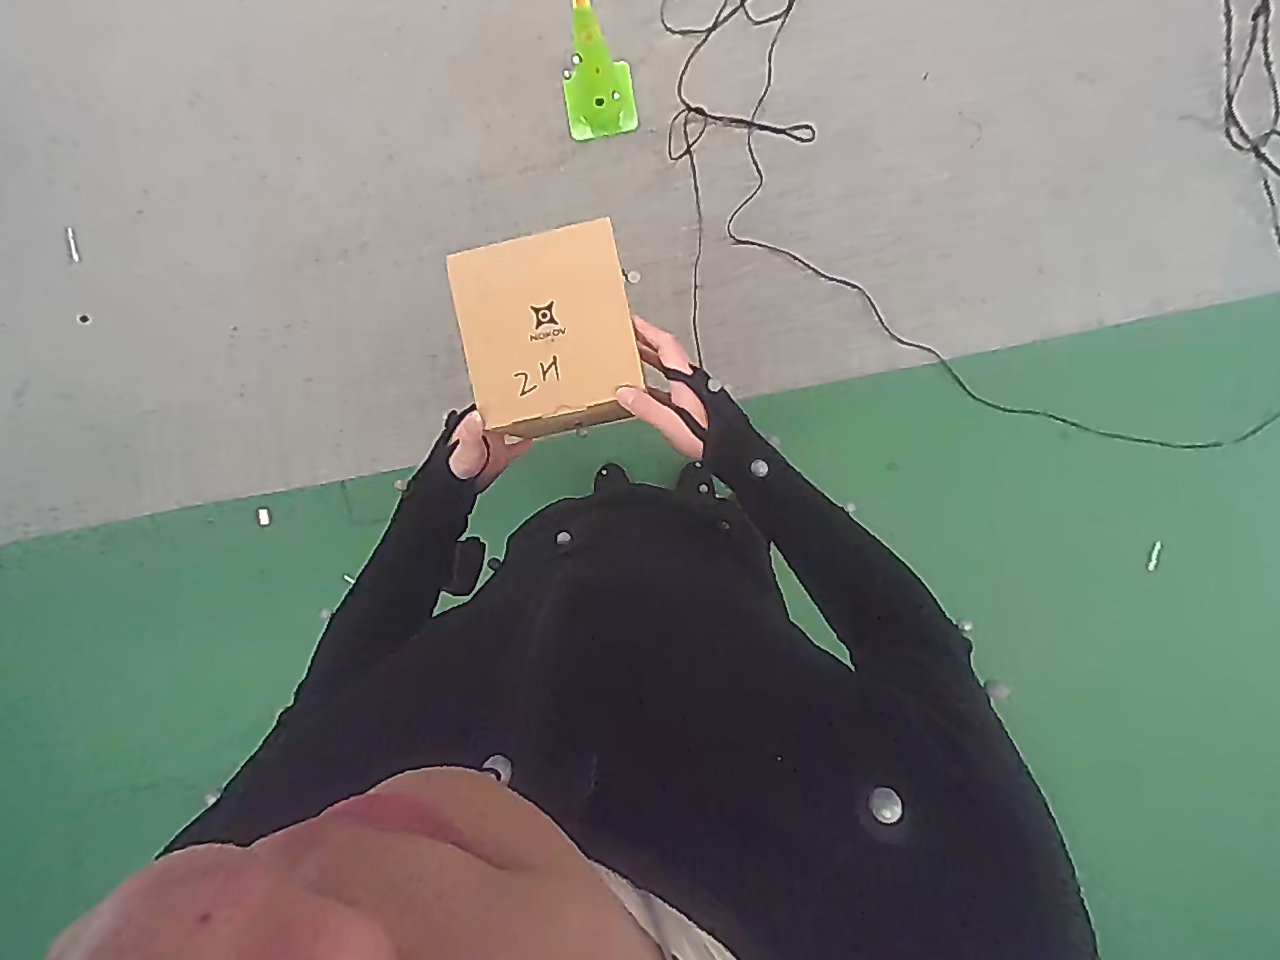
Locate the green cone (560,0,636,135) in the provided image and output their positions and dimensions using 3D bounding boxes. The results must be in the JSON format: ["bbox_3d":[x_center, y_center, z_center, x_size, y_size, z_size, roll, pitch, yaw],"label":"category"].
[{"bbox_3d":[-0.127,-1.099,1.390,0.202,0.368,0.200,-10,93,2],"label":"green cone"}]
